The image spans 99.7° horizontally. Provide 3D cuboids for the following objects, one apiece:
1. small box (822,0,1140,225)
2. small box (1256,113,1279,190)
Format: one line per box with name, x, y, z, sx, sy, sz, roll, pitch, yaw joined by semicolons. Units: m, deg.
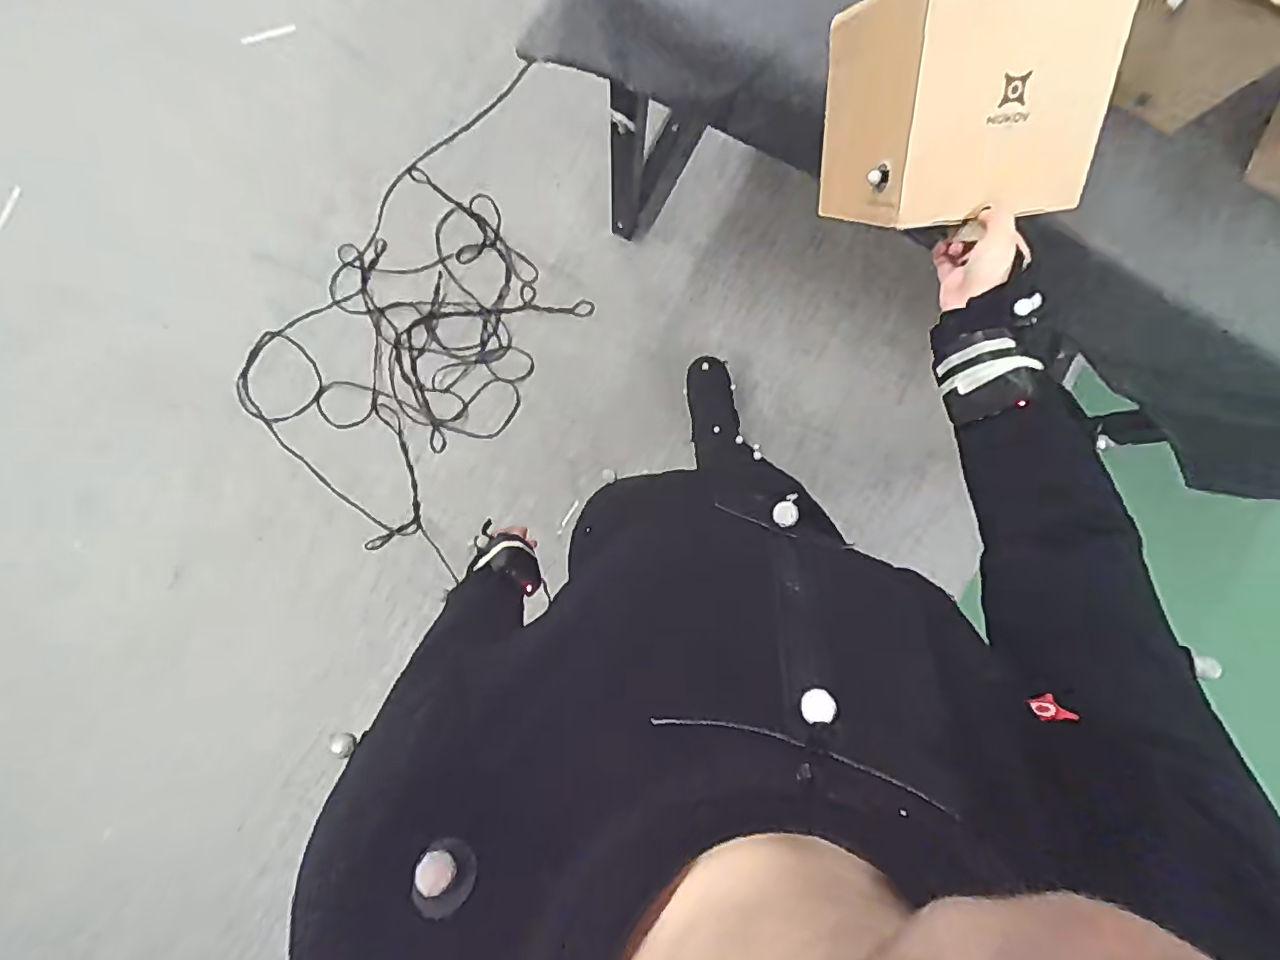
small box;0.277;-0.338;0.483;0.168;0.176;0.179;-8;122;-3
small box;0.867;-0.412;0.599;0.168;0.176;0.179;27;87;-3
